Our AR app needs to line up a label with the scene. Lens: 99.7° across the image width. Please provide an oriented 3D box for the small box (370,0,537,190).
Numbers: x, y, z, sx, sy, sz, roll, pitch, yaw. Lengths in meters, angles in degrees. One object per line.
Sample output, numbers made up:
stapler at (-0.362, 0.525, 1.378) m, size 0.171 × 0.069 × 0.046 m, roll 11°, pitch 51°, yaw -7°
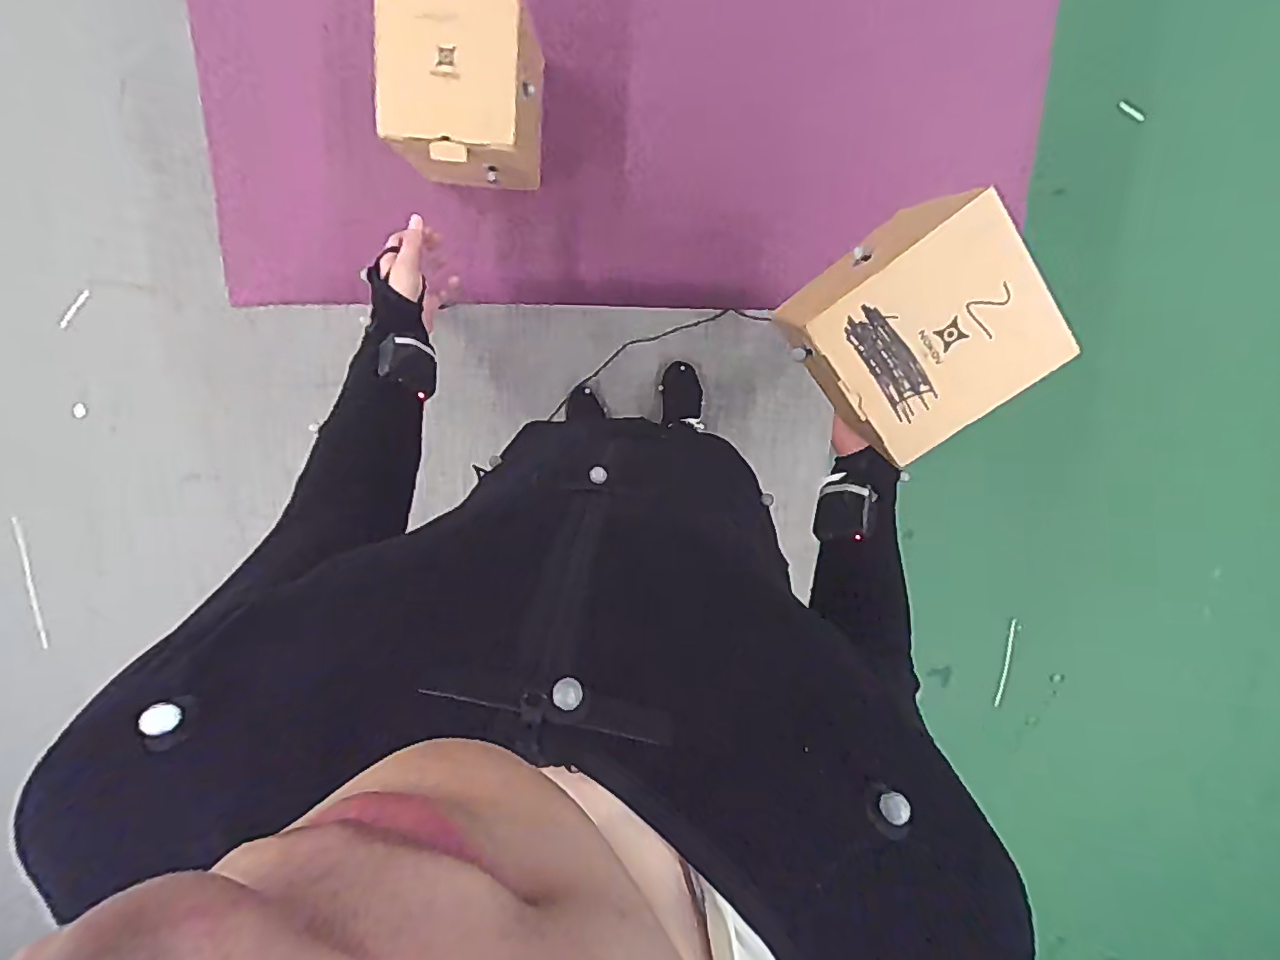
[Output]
small box at (-0.234, -0.503, 0.712) m, size 0.168 × 0.176 × 0.179 m, roll 5°, pitch 102°, yaw -2°
